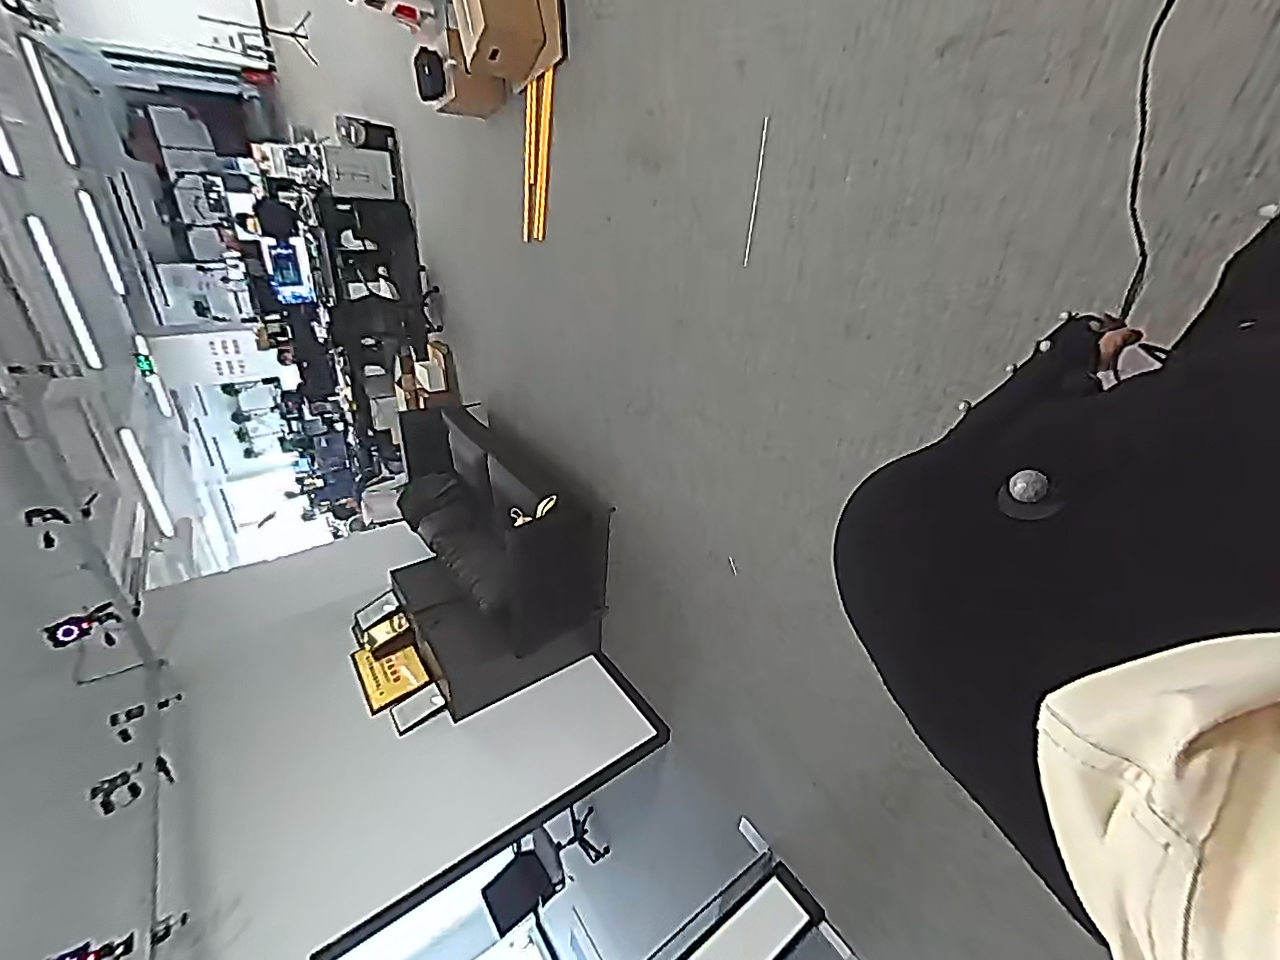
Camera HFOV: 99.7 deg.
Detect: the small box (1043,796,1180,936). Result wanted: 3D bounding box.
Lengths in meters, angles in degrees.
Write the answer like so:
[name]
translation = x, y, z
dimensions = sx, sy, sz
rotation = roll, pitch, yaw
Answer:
[small box]
translation = 1.093, 0.887, 1.254
dimensions = 0.168, 0.176, 0.179
rotation = 37, 134, 42
